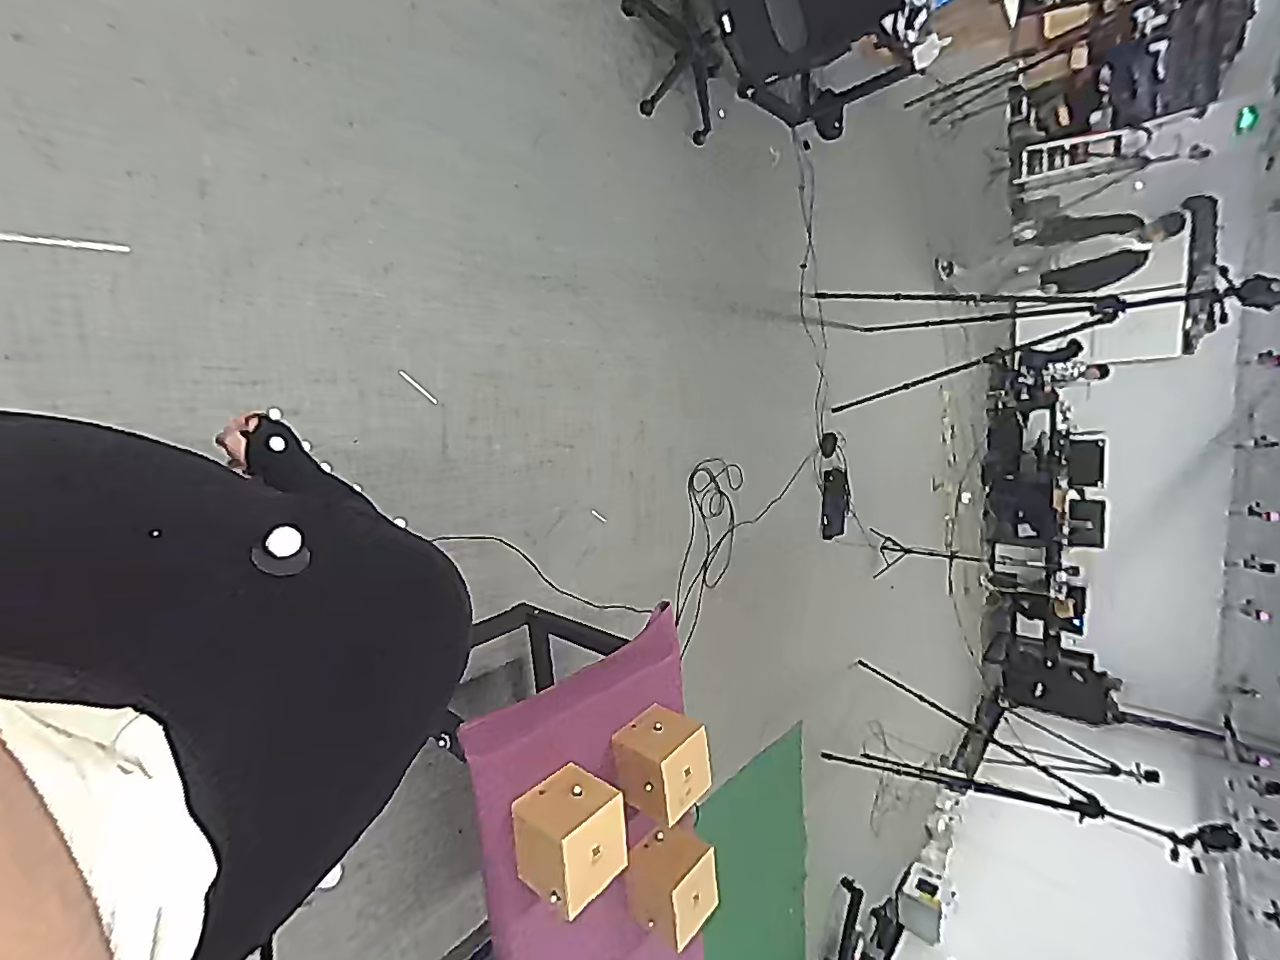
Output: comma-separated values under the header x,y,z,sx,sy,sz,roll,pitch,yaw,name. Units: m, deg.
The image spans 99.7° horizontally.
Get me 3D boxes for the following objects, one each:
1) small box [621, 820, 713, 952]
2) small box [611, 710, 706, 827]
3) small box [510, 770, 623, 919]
x,y,z,sx,sy,sz,roll,pitch,yaw,name
0.068,1.030,1.389,0.168,0.176,0.179,-15,103,-46,small box
0.043,0.697,1.338,0.168,0.176,0.179,-17,105,-44,small box
-0.155,0.741,1.130,0.168,0.176,0.179,-13,102,-47,small box
